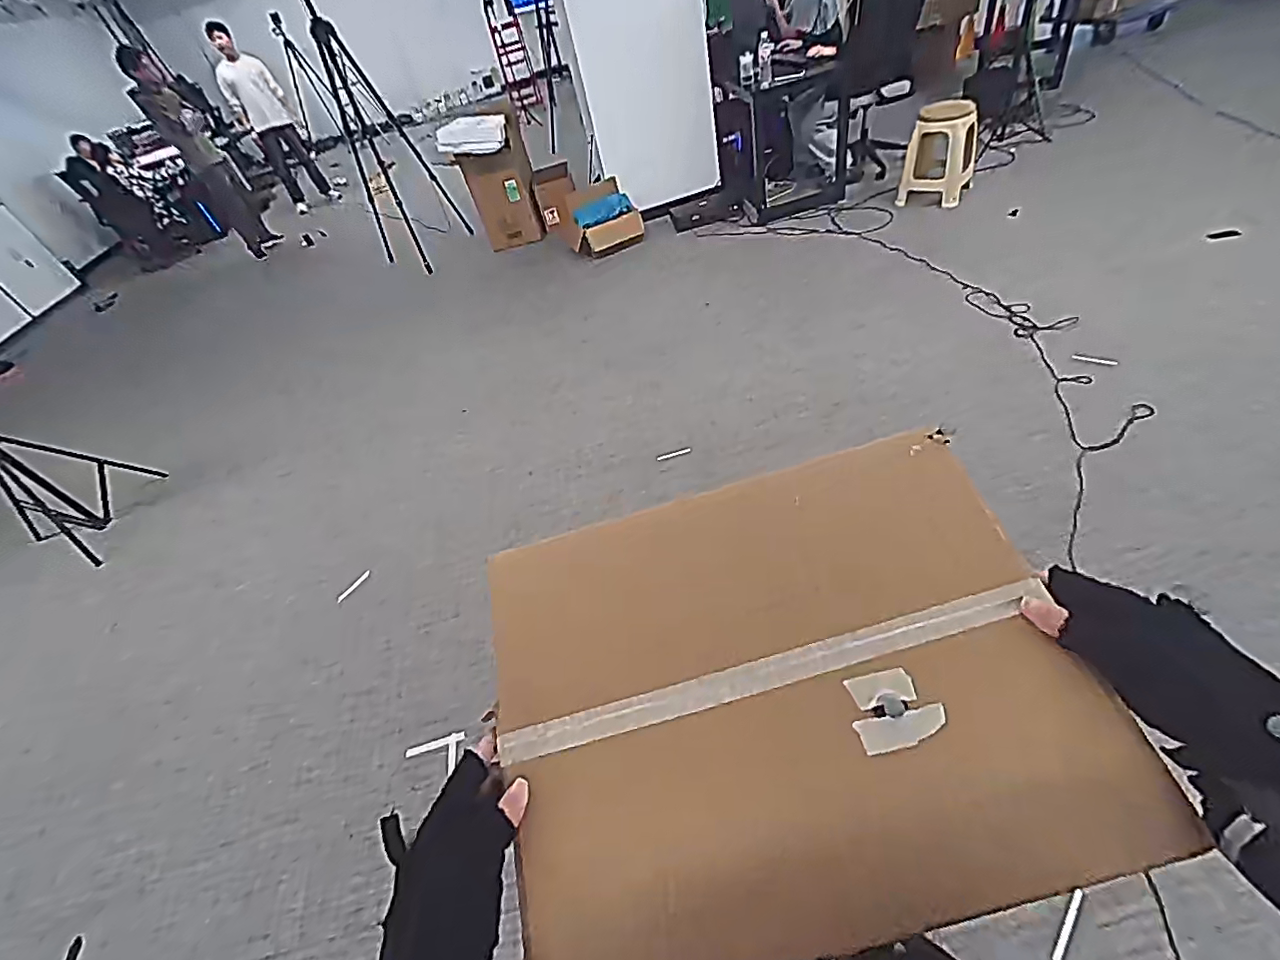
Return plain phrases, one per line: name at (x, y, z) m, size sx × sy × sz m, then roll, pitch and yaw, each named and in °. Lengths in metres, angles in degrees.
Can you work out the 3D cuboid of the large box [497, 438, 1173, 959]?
large box at (0.121, 0.220, 0.529) m, size 0.408 × 0.320 × 0.320 m, roll -17°, pitch 59°, yaw 0°
